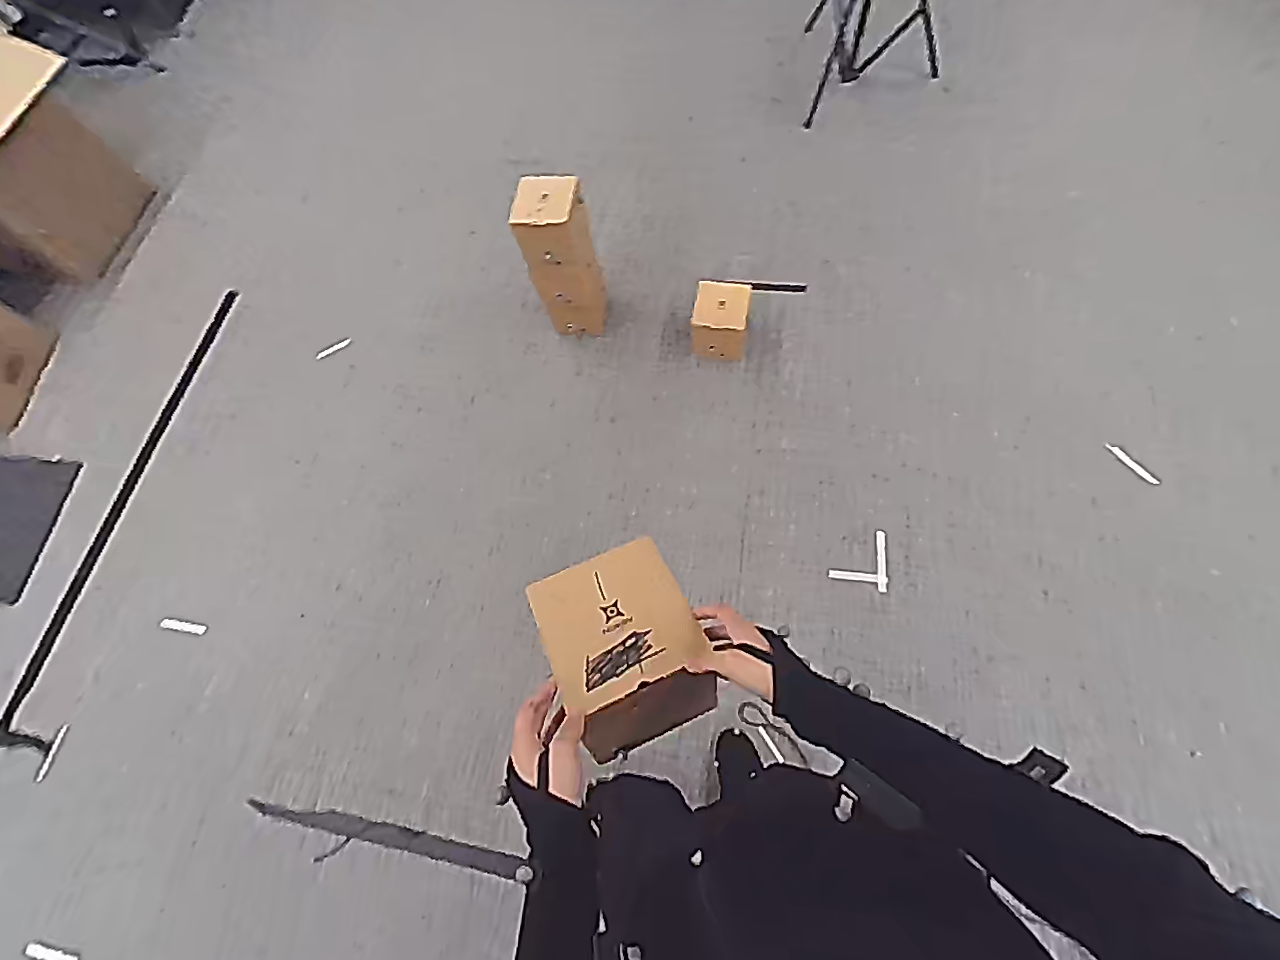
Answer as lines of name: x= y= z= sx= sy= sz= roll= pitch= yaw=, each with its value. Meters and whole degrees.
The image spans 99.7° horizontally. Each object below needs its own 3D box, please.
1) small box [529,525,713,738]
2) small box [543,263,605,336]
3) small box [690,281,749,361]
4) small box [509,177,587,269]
small box: x=-0.018 y=0.193 z=0.665 sx=0.168 sy=0.176 sz=0.179 roll=-21 pitch=49 yaw=-10
small box: x=-0.219 y=-0.622 z=1.861 sx=0.168 sy=0.176 sz=0.179 roll=4 pitch=68 yaw=8
small box: x=0.257 y=-0.519 z=1.774 sx=0.168 sy=0.176 sz=0.179 roll=9 pitch=70 yaw=9
small box: x=-0.257 y=-0.738 z=1.557 sx=0.168 sy=0.176 sz=0.179 roll=4 pitch=69 yaw=9
